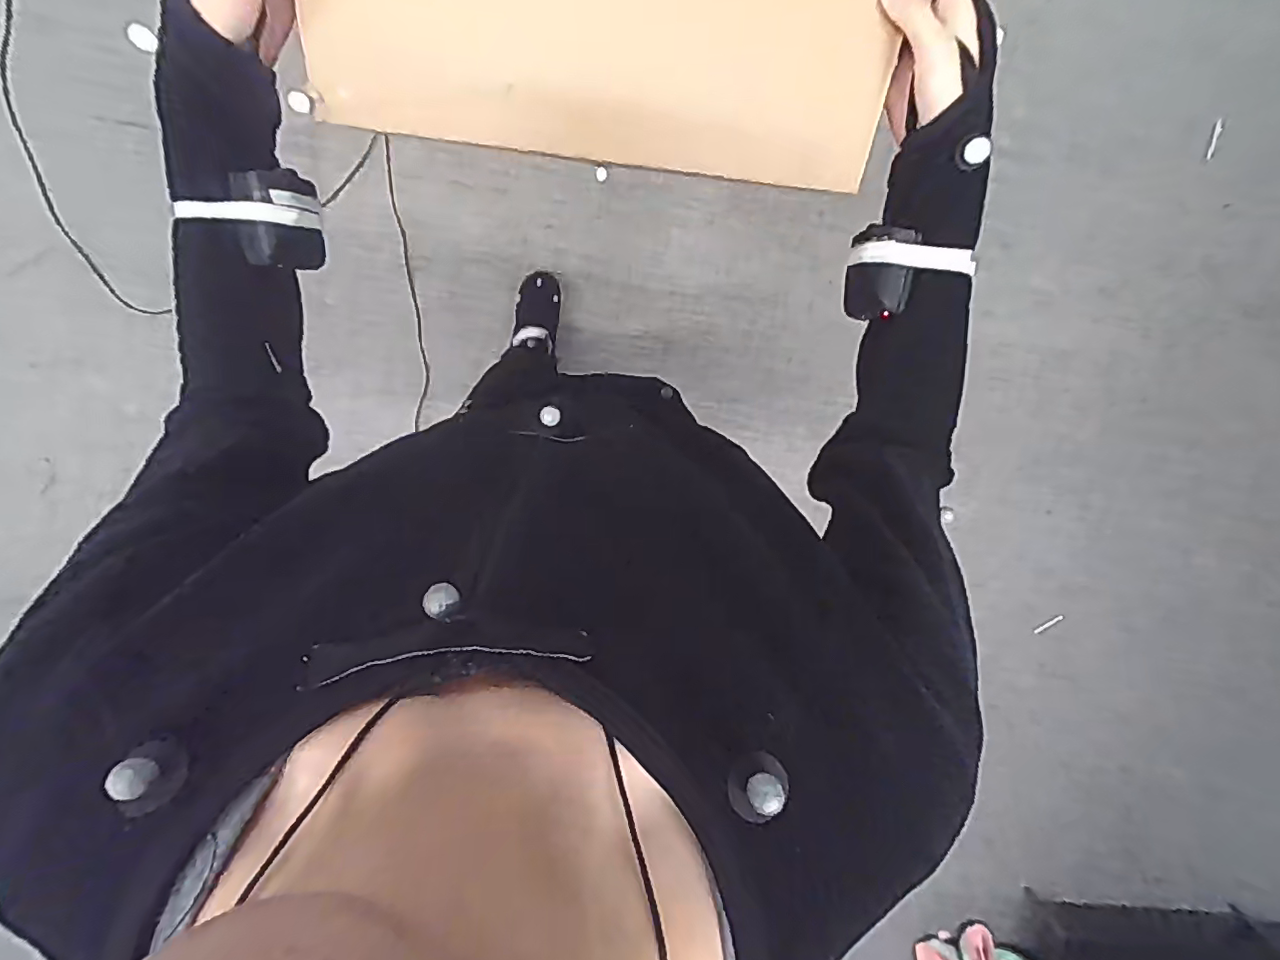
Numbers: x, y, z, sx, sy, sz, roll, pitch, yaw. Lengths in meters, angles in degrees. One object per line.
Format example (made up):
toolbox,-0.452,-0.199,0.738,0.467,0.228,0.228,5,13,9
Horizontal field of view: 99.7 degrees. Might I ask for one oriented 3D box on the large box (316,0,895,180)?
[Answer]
large box,-0.017,-0.462,0.465,0.408,0.320,0.320,5,120,-5
